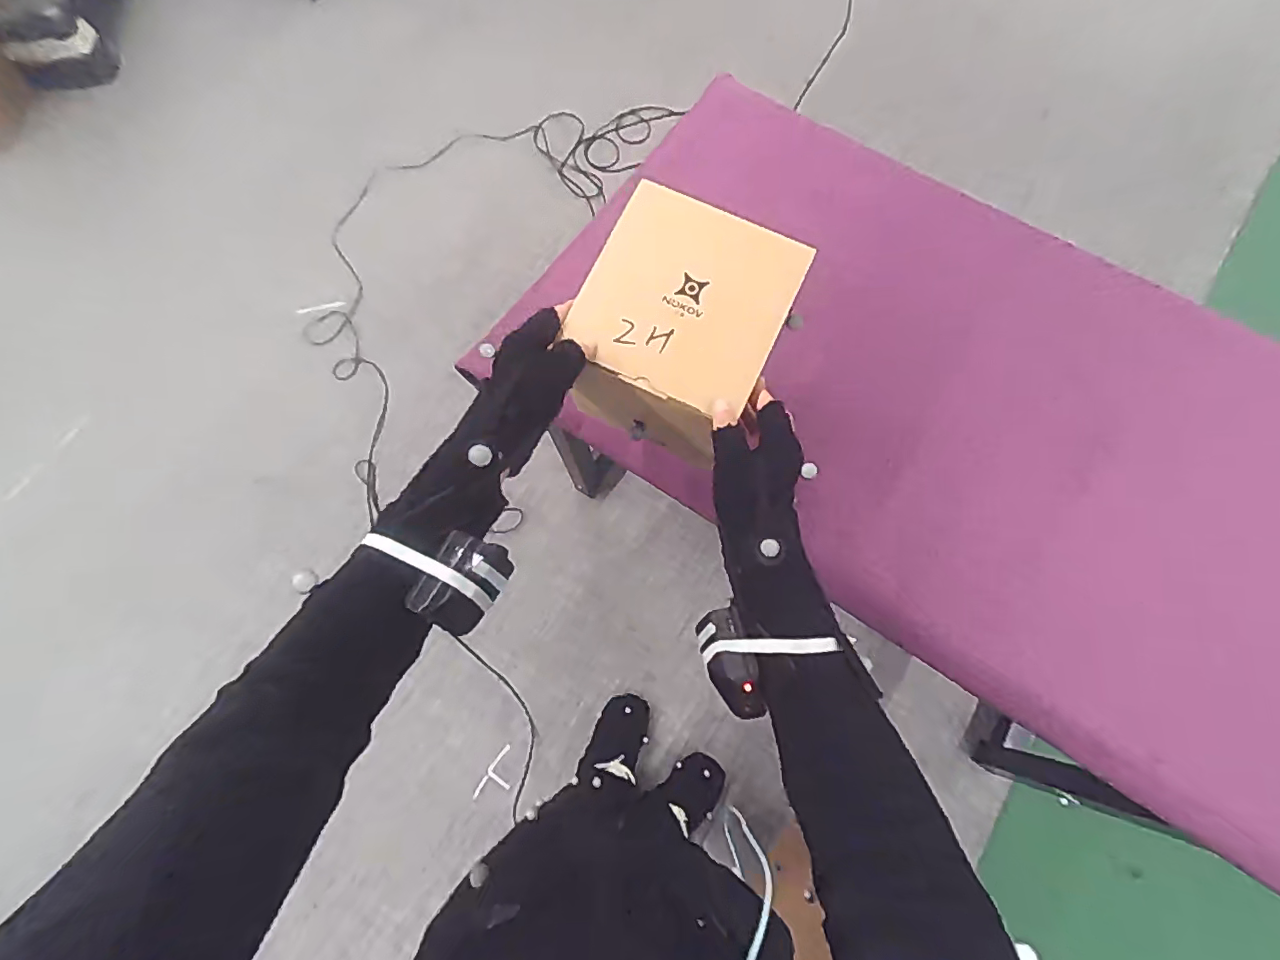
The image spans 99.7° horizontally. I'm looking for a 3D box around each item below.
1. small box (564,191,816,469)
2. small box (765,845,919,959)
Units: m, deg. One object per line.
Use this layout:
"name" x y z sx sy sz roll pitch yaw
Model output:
"small box" 0.044 -0.133 0.539 0.168 0.176 0.179 26 81 5
"small box" 0.338 0.794 0.946 0.168 0.176 0.179 37 75 11
